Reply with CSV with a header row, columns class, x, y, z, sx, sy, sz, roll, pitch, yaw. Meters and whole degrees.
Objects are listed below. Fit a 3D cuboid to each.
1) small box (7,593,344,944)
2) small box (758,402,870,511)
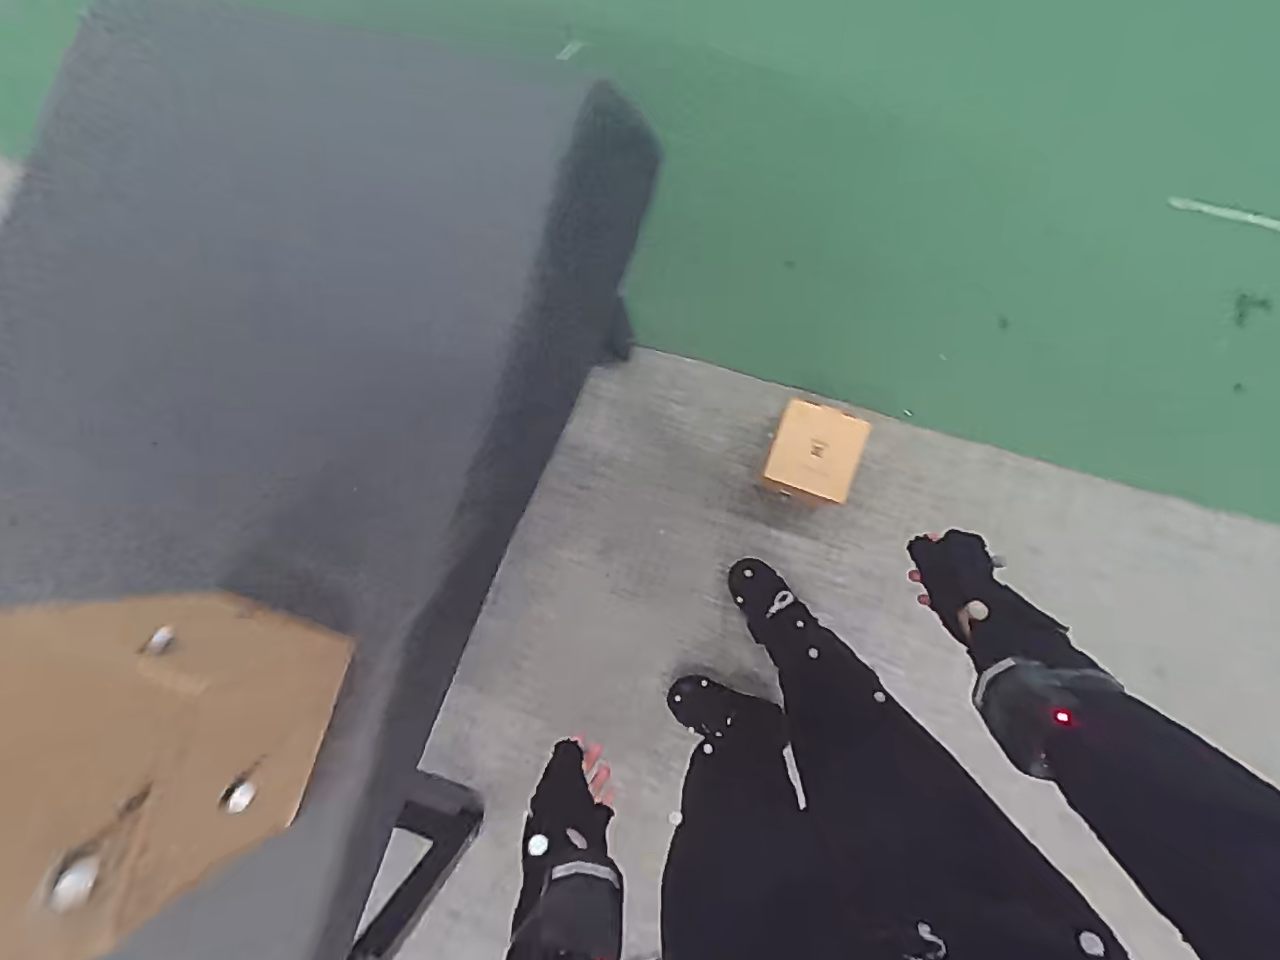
class,x,y,z,sx,sy,sz,roll,pitch,yaw
small box,-0.385,0.206,0.446,0.168,0.176,0.179,17,85,7
small box,0.359,-0.042,1.151,0.168,0.176,0.179,20,87,8
